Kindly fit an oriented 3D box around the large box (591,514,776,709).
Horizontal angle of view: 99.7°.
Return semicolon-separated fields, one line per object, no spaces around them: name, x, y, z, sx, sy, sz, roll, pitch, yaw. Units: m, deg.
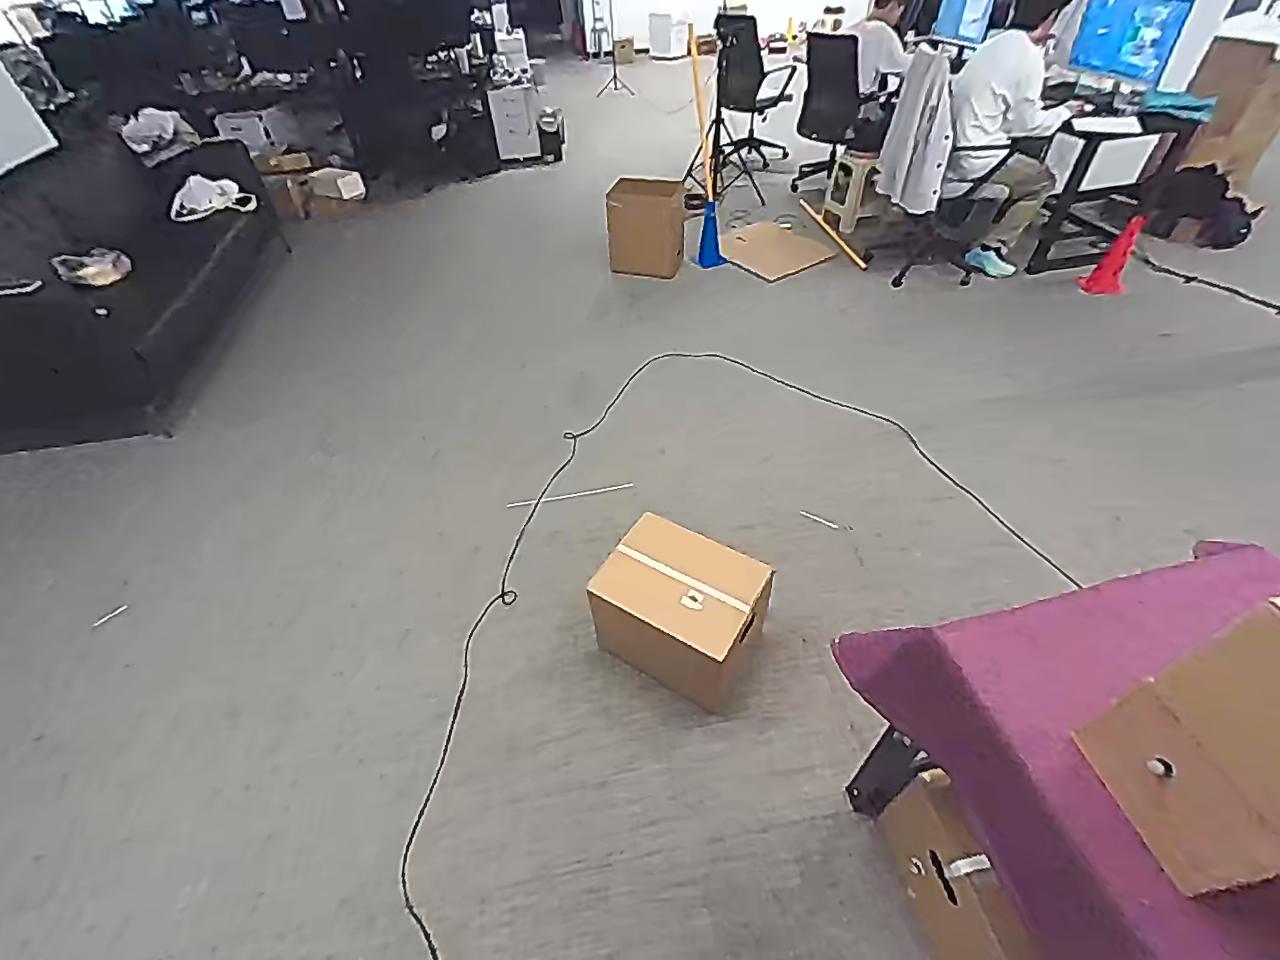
large box;0.119;0.363;1.527;0.408;0.320;0.320;23;52;24

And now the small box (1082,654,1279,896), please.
small box;0.651;0.322;0.593;0.168;0.176;0.179;-9;45;-4
